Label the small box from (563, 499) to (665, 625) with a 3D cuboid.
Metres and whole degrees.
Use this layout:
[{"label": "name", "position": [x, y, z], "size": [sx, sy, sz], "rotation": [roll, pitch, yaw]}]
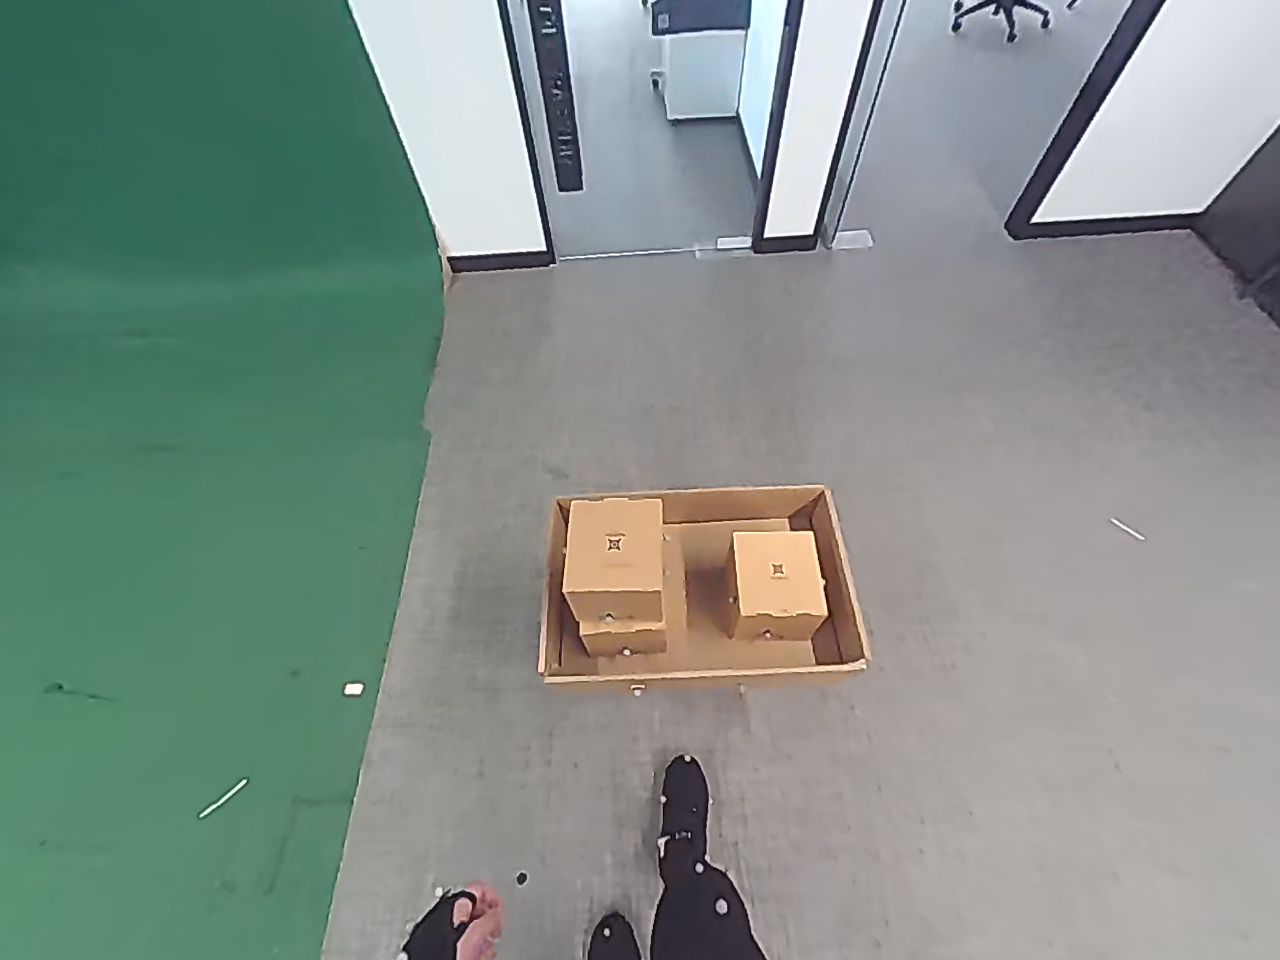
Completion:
[{"label": "small box", "position": [-0.039, 0.151, 0.989], "size": [0.168, 0.176, 0.179], "rotation": [-1, 57, 3]}]
